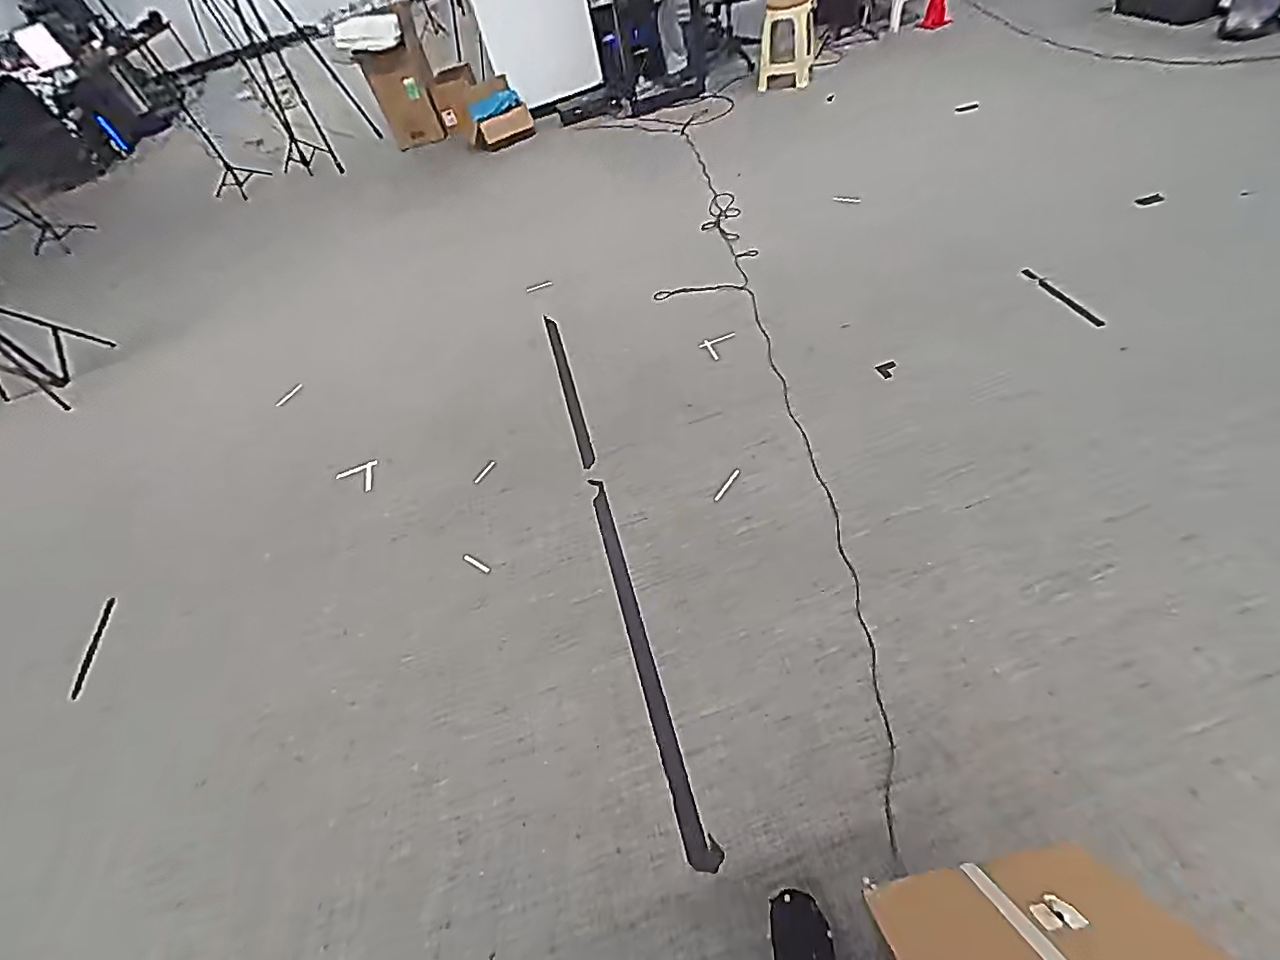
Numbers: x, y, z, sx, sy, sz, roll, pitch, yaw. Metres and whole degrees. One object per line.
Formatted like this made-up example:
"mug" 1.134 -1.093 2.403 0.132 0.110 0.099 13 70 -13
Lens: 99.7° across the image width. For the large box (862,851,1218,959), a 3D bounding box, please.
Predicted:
"large box" 0.498 0.688 0.571 0.320 0.408 0.320 -14 79 2
